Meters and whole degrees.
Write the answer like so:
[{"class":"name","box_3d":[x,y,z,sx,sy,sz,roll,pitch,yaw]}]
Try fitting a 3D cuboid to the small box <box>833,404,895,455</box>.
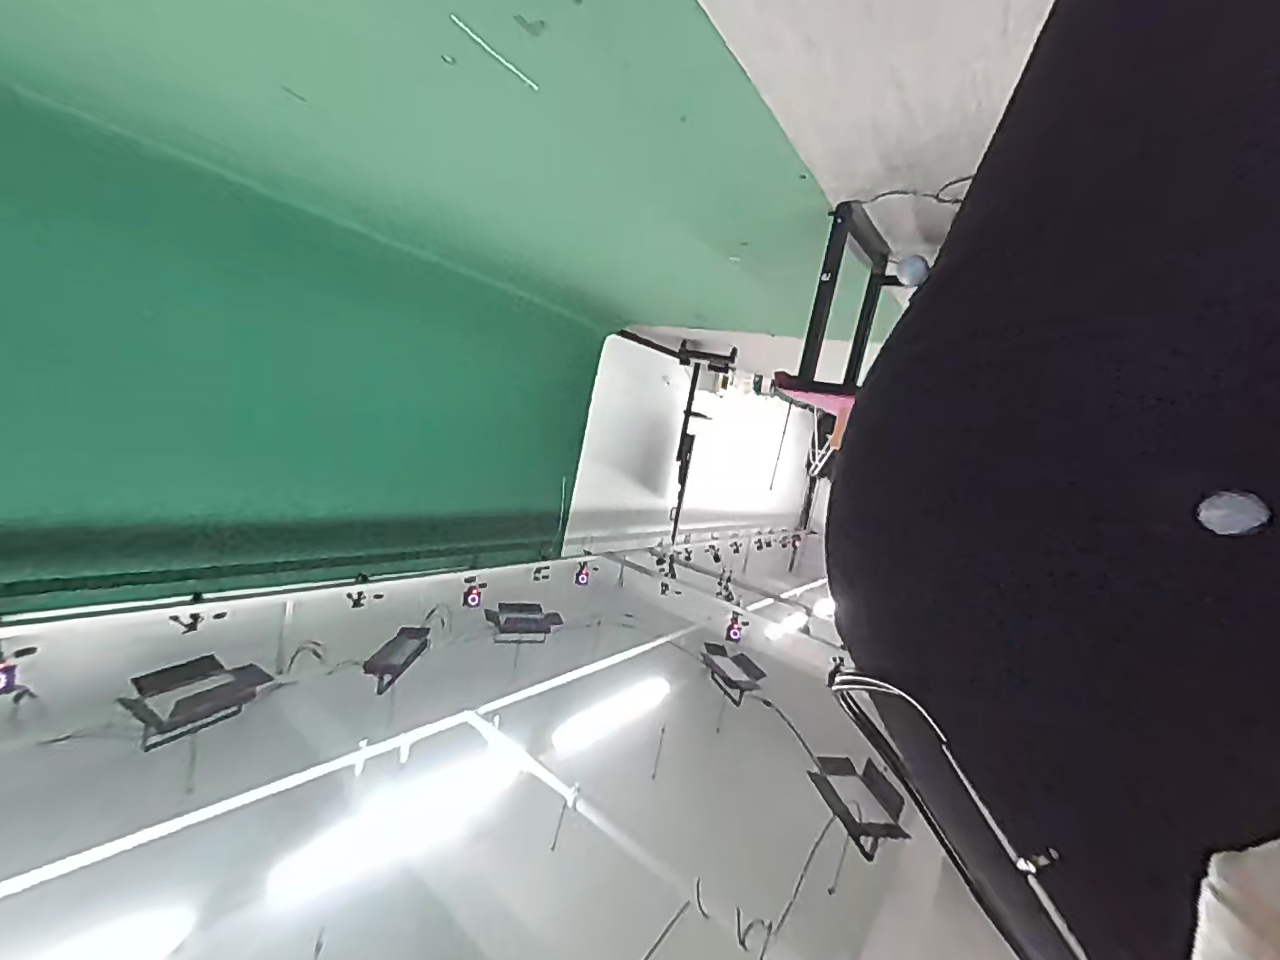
[{"class":"small box","box_3d":[0.892,-0.201,2.143,0.168,0.176,0.179,15,-171,38]}]
